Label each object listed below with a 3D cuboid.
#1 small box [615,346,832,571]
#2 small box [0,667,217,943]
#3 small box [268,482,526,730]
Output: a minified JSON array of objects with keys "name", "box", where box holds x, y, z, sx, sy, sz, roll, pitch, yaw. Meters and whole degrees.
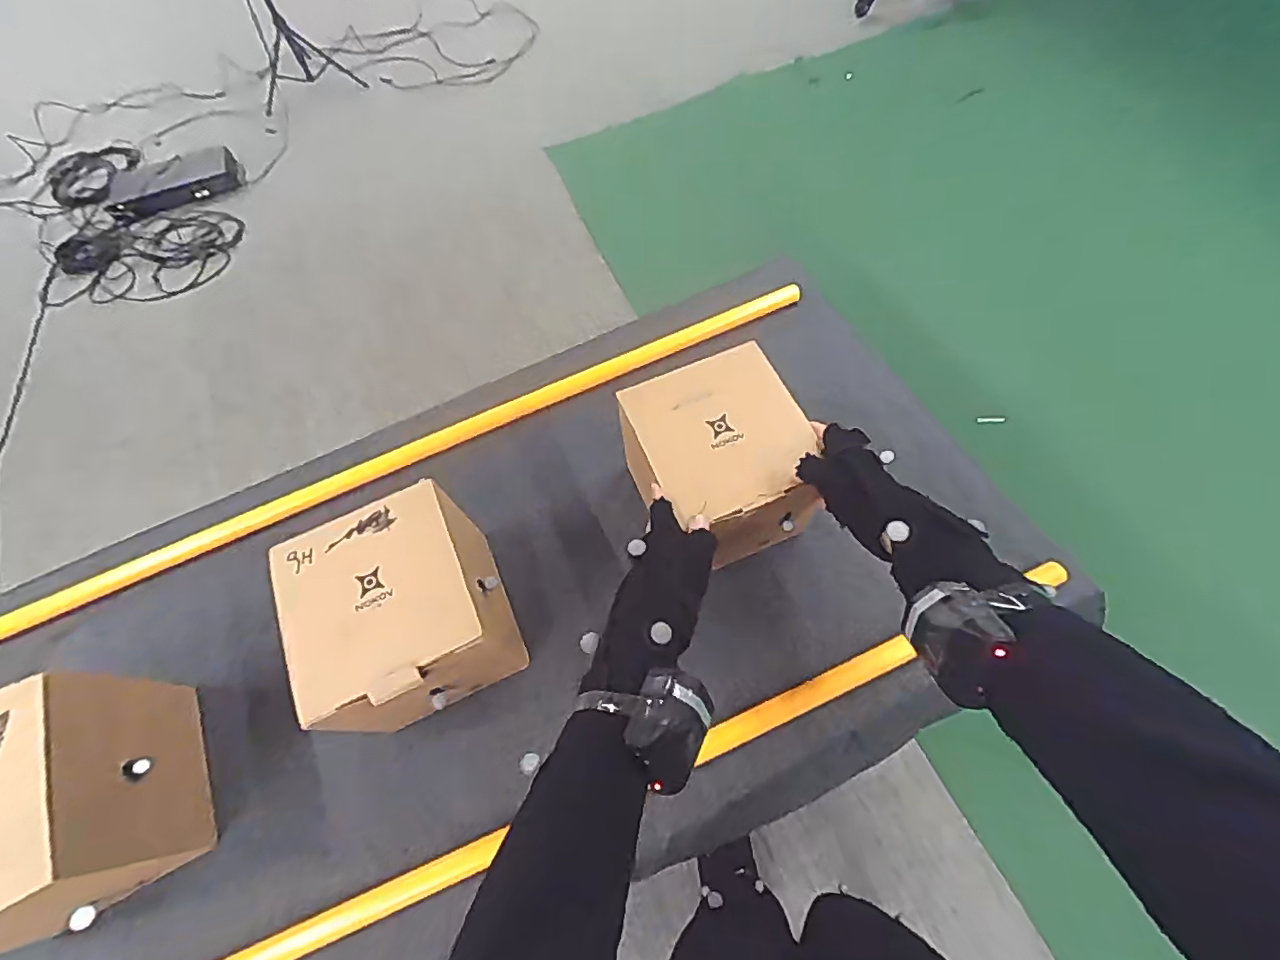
[{"name":"small box","box":[0.085,-0.012,0.615,0.168,0.176,0.179,-22,63,-8]},{"name":"small box","box":[-0.545,0.303,0.505,0.168,0.176,0.179,-27,66,-9]},{"name":"small box","box":[-0.240,0.138,0.567,0.168,0.176,0.179,-28,65,-8]}]
